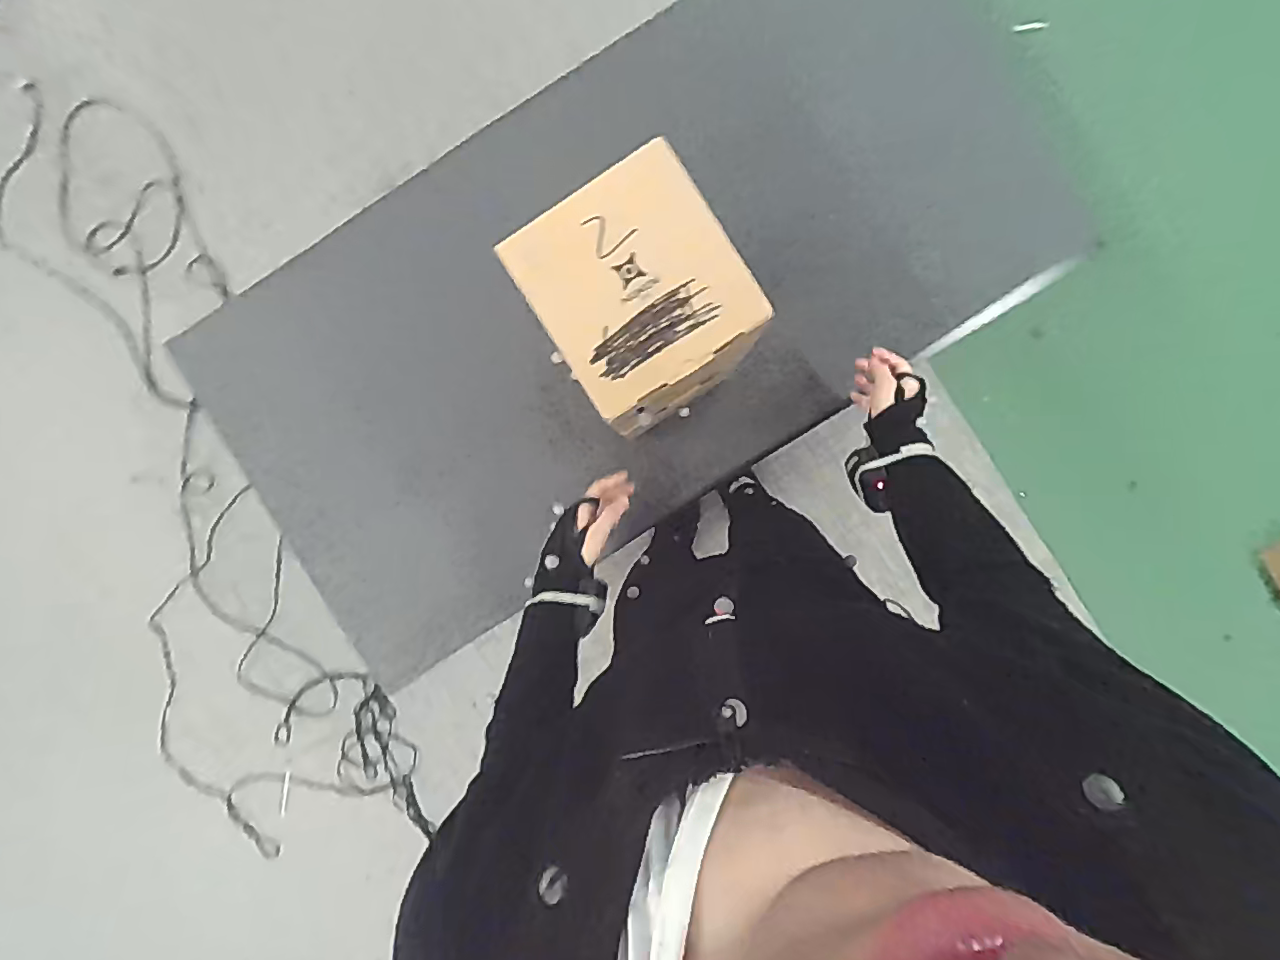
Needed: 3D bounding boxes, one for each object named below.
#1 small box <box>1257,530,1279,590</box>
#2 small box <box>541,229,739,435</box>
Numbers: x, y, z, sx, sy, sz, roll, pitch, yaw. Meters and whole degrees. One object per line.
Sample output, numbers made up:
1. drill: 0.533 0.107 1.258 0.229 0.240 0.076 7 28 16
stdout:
1. small box: 1.793 0.203 1.398 0.179 0.176 0.168 -31 92 3
2. small box: 0.001 -0.172 0.692 0.168 0.176 0.179 -34 91 3
